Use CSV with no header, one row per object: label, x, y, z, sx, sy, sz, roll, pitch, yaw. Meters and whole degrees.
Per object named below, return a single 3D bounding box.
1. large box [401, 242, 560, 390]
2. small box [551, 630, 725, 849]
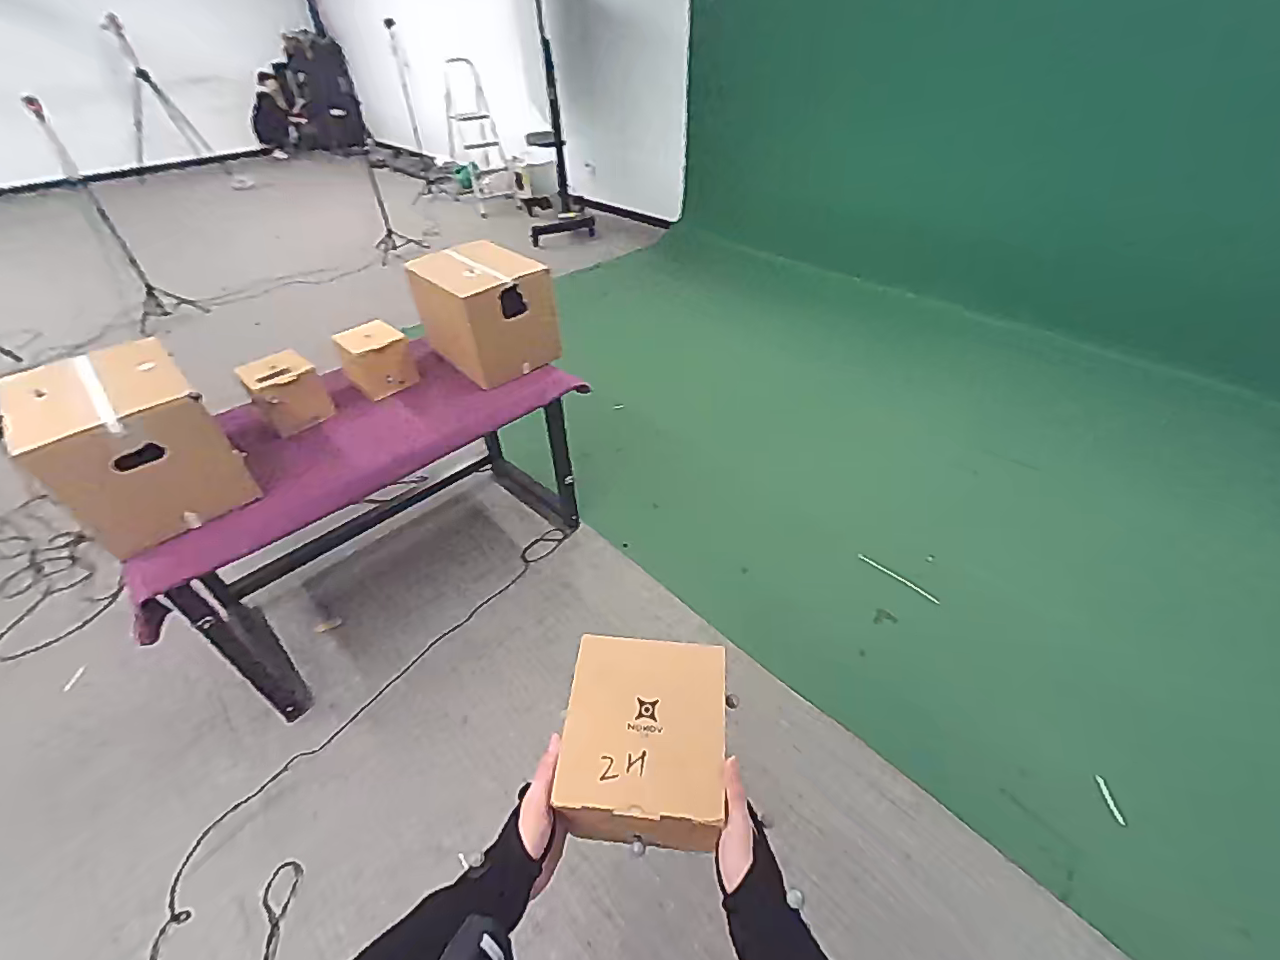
large box,-0.521,-0.556,1.801,0.320,0.320,0.408,-34,51,-29
small box,0.007,0.293,0.613,0.168,0.176,0.179,2,48,5
